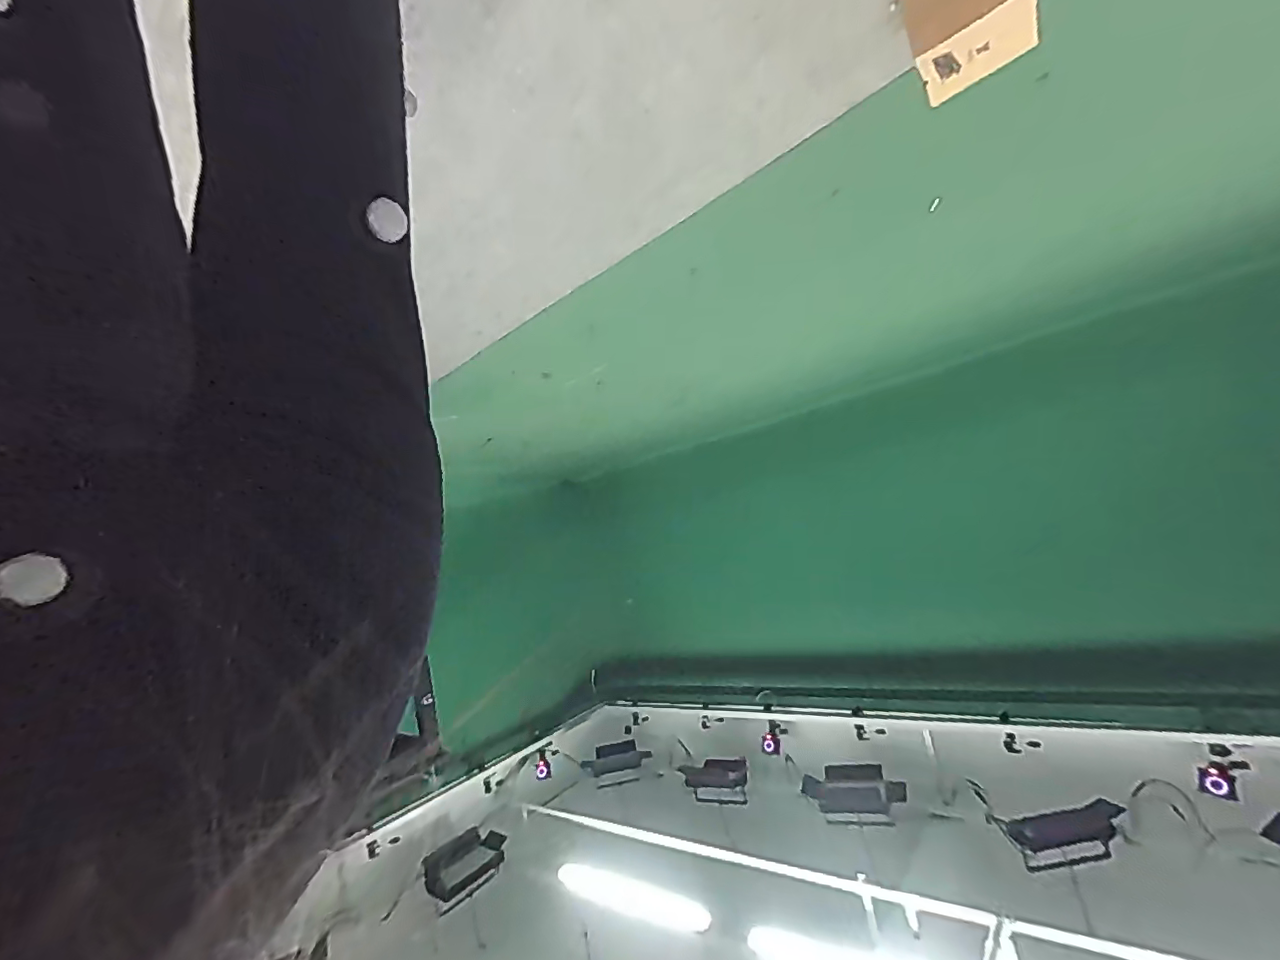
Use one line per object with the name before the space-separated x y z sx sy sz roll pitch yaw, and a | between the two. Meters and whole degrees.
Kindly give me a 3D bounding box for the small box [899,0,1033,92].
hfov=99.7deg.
small box | 0.558 -0.844 0.940 0.179 0.176 0.168 -16 174 36
